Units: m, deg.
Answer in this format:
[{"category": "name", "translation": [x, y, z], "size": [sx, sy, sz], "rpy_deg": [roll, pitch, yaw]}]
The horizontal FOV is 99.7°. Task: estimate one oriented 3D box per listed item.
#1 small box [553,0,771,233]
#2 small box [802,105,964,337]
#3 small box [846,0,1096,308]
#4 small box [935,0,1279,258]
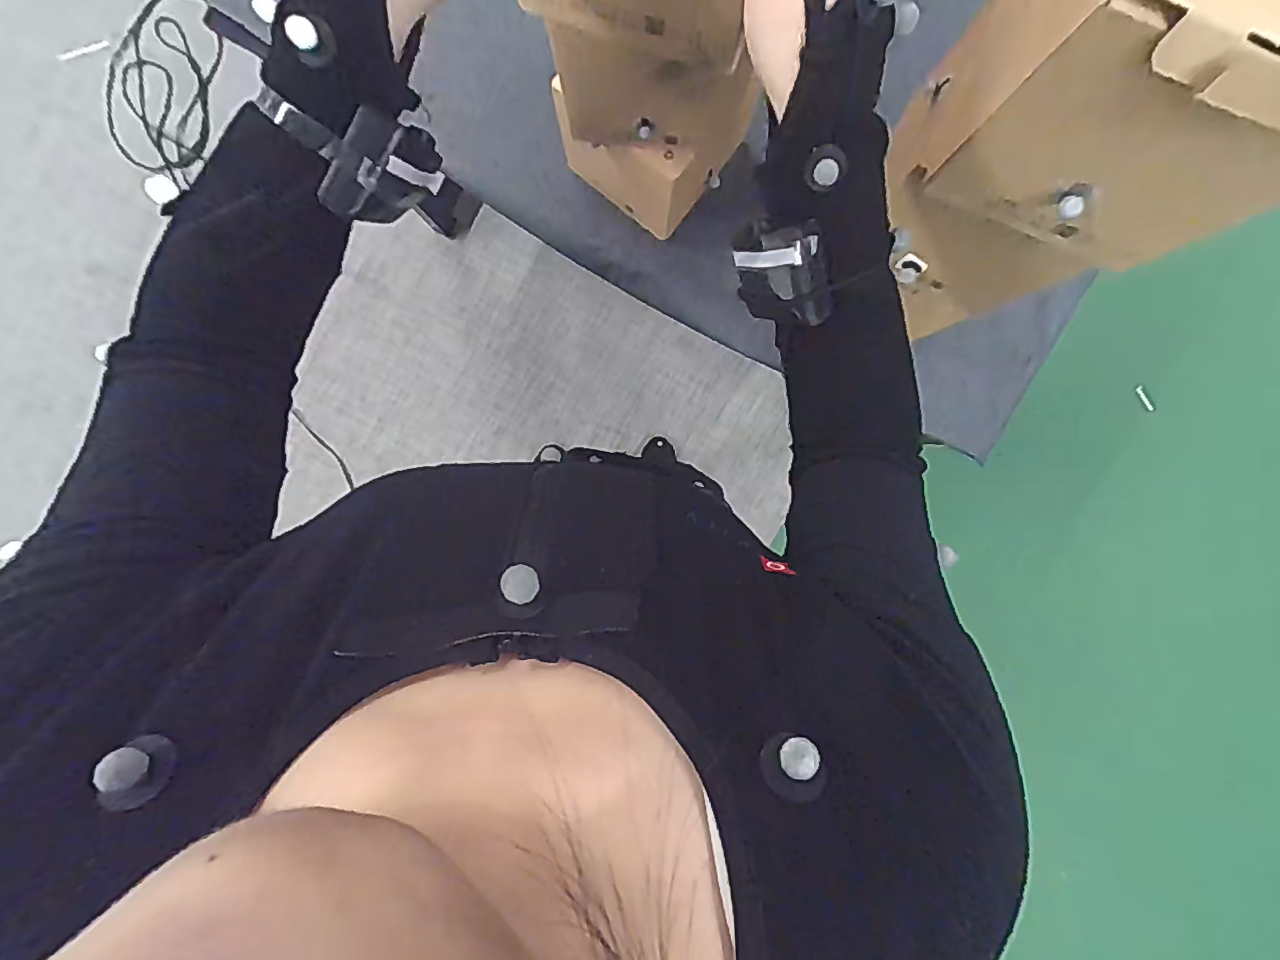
[{"category": "small box", "translation": [0.020, -0.437, 0.640], "size": [0.168, 0.176, 0.179], "rpy_deg": [38, 92, -3]}, {"category": "small box", "translation": [0.317, -0.296, 0.650], "size": [0.168, 0.176, 0.179], "rpy_deg": [29, 91, -2]}, {"category": "small box", "translation": [0.316, -0.286, 0.488], "size": [0.168, 0.176, 0.179], "rpy_deg": [25, 93, -1]}, {"category": "small box", "translation": [0.316, -0.269, 0.322], "size": [0.168, 0.176, 0.179], "rpy_deg": [22, 91, 0]}]
